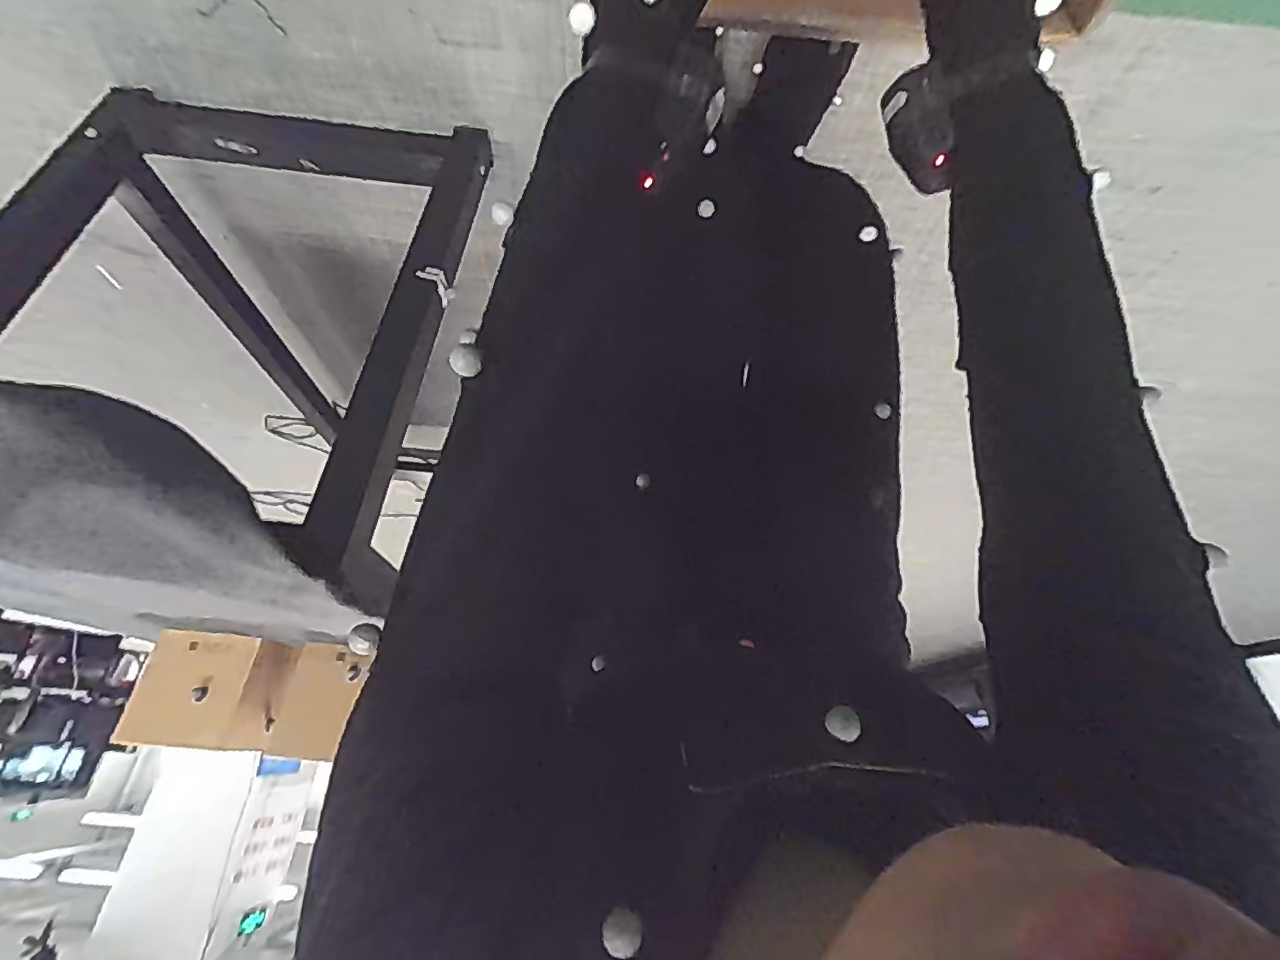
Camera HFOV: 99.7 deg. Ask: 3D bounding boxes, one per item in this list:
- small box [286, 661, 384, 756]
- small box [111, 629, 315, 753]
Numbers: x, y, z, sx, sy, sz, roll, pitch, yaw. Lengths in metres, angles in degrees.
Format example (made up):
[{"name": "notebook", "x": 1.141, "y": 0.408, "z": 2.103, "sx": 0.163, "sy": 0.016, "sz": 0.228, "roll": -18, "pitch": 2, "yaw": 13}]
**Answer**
[{"name": "small box", "x": -0.670, "y": 0.479, "z": 1.138, "sx": 0.168, "sy": 0.176, "sz": 0.179, "roll": 5, "pitch": 153, "yaw": 1}, {"name": "small box", "x": -0.677, "y": 0.347, "z": 0.885, "sx": 0.168, "sy": 0.176, "sz": 0.179, "roll": 4, "pitch": 154, "yaw": 2}]
